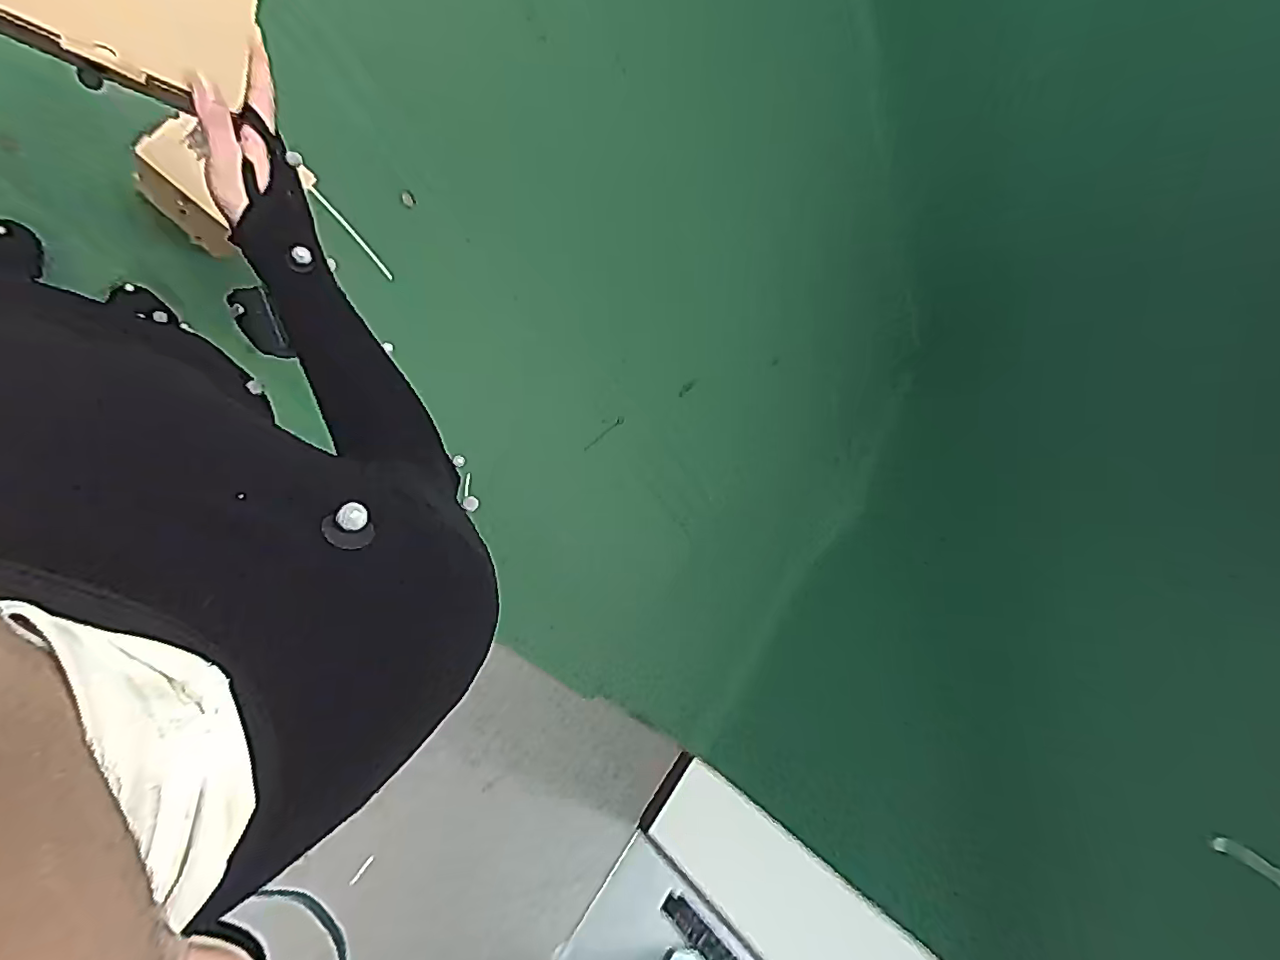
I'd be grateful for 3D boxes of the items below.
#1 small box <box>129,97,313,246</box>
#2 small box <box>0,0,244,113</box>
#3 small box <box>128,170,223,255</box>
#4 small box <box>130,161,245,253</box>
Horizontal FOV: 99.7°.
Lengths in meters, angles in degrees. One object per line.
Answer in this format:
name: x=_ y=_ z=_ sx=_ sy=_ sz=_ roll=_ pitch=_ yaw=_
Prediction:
small box: x=-0.700 y=-0.517 z=0.907 sx=0.168 sy=0.176 sz=0.179 roll=-55 pitch=133 yaw=-12
small box: x=-0.418 y=-0.414 z=0.408 sx=0.168 sy=0.176 sz=0.179 roll=0 pitch=115 yaw=-51
small box: x=-0.916 y=-0.599 z=1.137 sx=0.168 sy=0.176 sz=0.179 roll=-52 pitch=132 yaw=-16
small box: x=-0.806 y=-0.556 z=1.026 sx=0.168 sy=0.176 sz=0.179 roll=-54 pitch=132 yaw=-14
